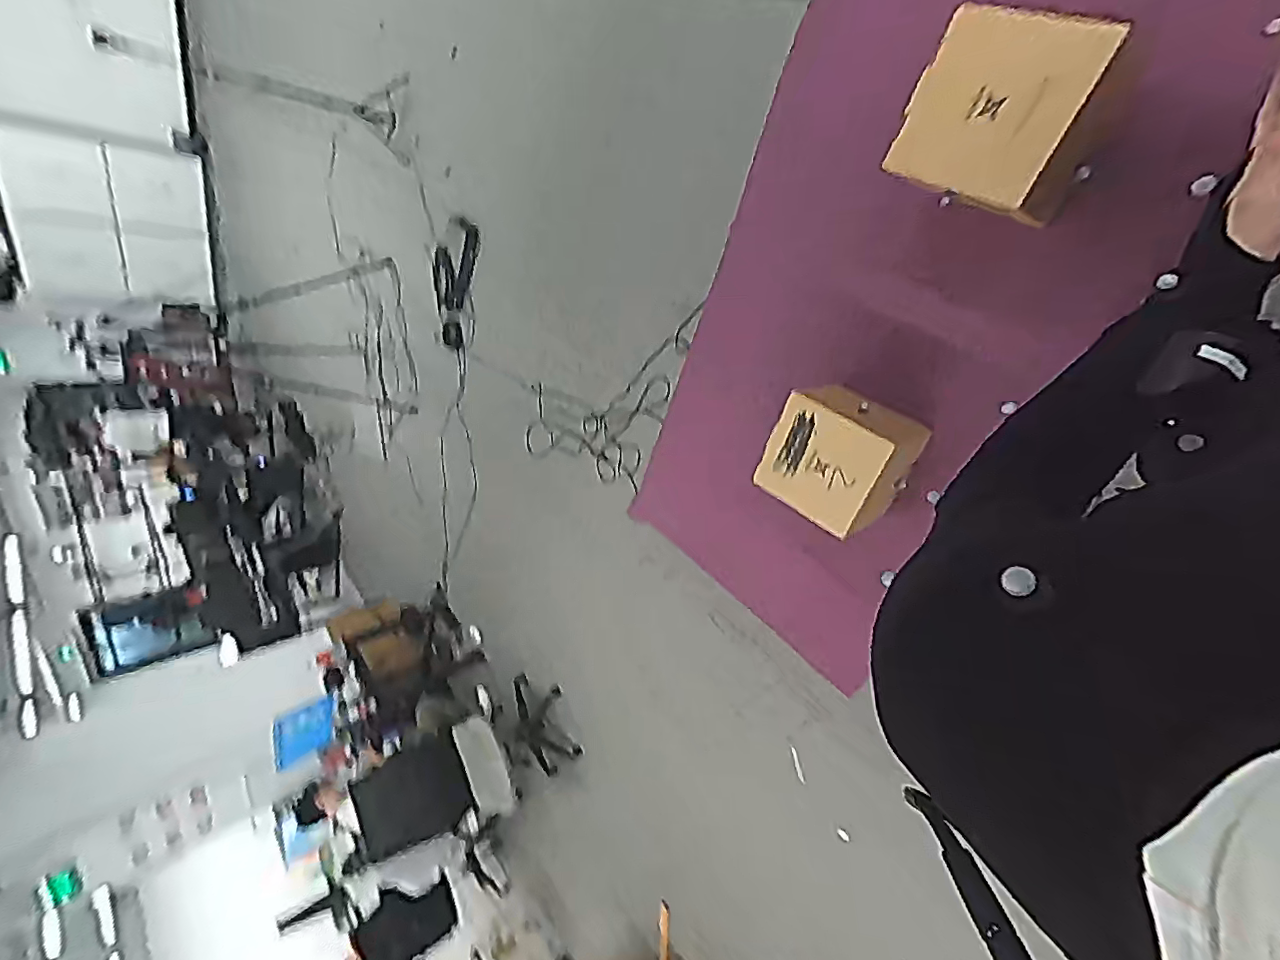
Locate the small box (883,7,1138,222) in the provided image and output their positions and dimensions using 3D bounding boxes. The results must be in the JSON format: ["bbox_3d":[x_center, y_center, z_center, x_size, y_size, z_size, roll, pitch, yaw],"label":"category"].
[{"bbox_3d":[0.442,-0.427,0.652,0.179,0.176,0.168,42,129,31],"label":"small box"}]
